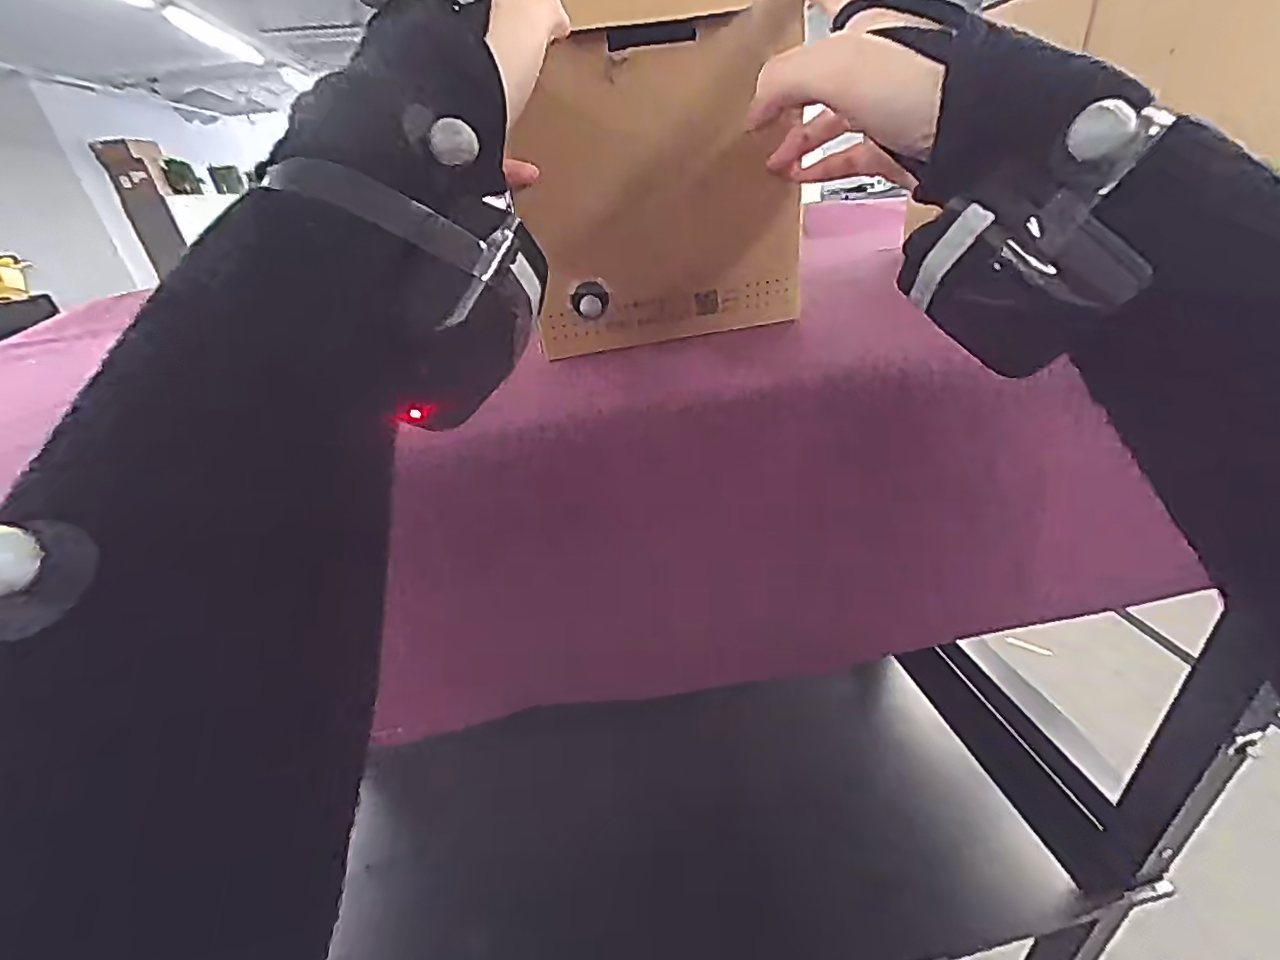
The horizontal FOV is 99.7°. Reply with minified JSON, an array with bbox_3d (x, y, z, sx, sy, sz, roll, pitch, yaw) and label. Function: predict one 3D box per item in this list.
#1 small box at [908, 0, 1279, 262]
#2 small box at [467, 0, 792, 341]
[{"bbox_3d":[0.327,-0.266,0.405,0.168,0.176,0.179,-9,29,-2],"label":"small box"},{"bbox_3d":[-0.007,-0.199,0.365,0.168,0.176,0.179,-11,28,-7],"label":"small box"}]
